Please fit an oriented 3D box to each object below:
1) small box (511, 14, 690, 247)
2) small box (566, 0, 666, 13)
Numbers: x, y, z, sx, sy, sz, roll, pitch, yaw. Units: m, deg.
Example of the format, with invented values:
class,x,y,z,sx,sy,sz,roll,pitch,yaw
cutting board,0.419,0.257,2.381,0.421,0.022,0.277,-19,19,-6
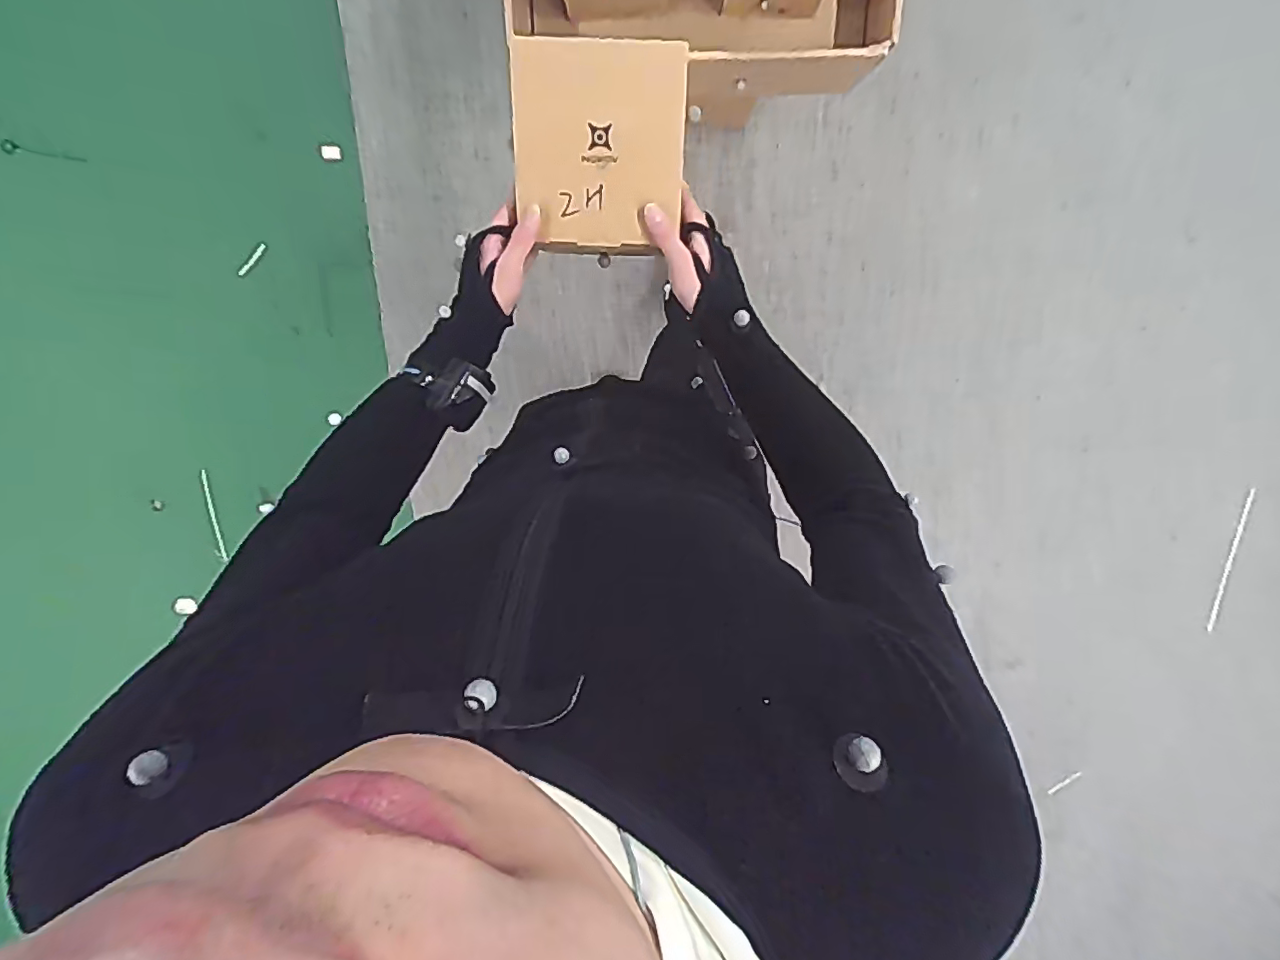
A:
class,x,y,z,sx,sy,sz,roll,pitch,yaw
small box,-0.040,-0.358,0.588,0.168,0.176,0.179,2,110,-1
small box,-0.044,-0.870,0.845,0.179,0.176,0.168,-1,108,0
